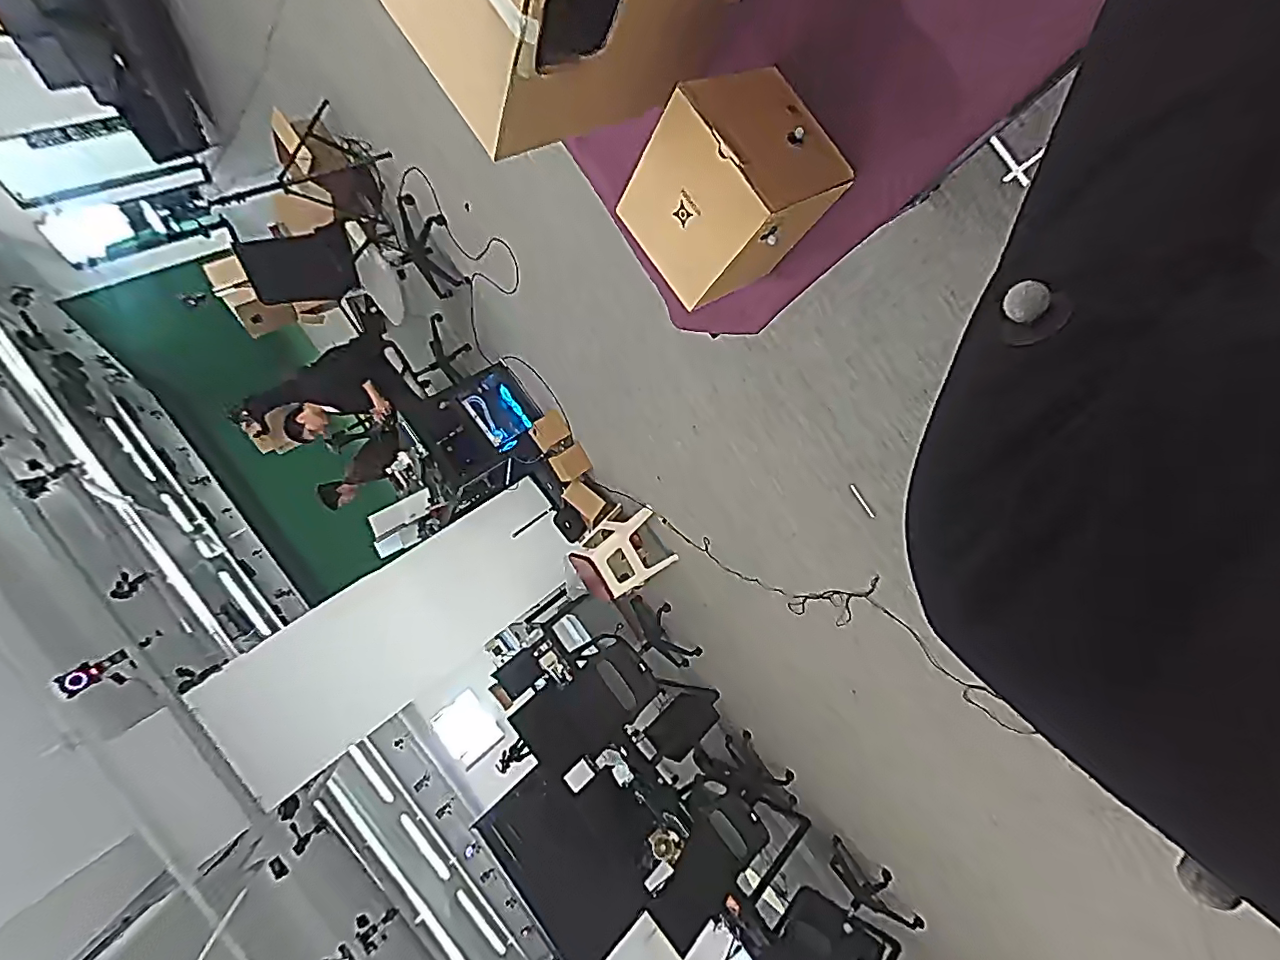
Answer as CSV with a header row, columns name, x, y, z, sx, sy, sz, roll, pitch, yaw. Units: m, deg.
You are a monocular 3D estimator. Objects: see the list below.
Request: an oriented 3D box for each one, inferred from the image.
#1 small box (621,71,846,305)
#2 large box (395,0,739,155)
name,x,y,z,sx,sy,sz,roll,pitch,yaw
small box,0.111,-0.353,0.664,0.168,0.176,0.179,54,150,2
large box,-0.098,-0.633,0.523,0.408,0.320,0.320,53,154,-4
